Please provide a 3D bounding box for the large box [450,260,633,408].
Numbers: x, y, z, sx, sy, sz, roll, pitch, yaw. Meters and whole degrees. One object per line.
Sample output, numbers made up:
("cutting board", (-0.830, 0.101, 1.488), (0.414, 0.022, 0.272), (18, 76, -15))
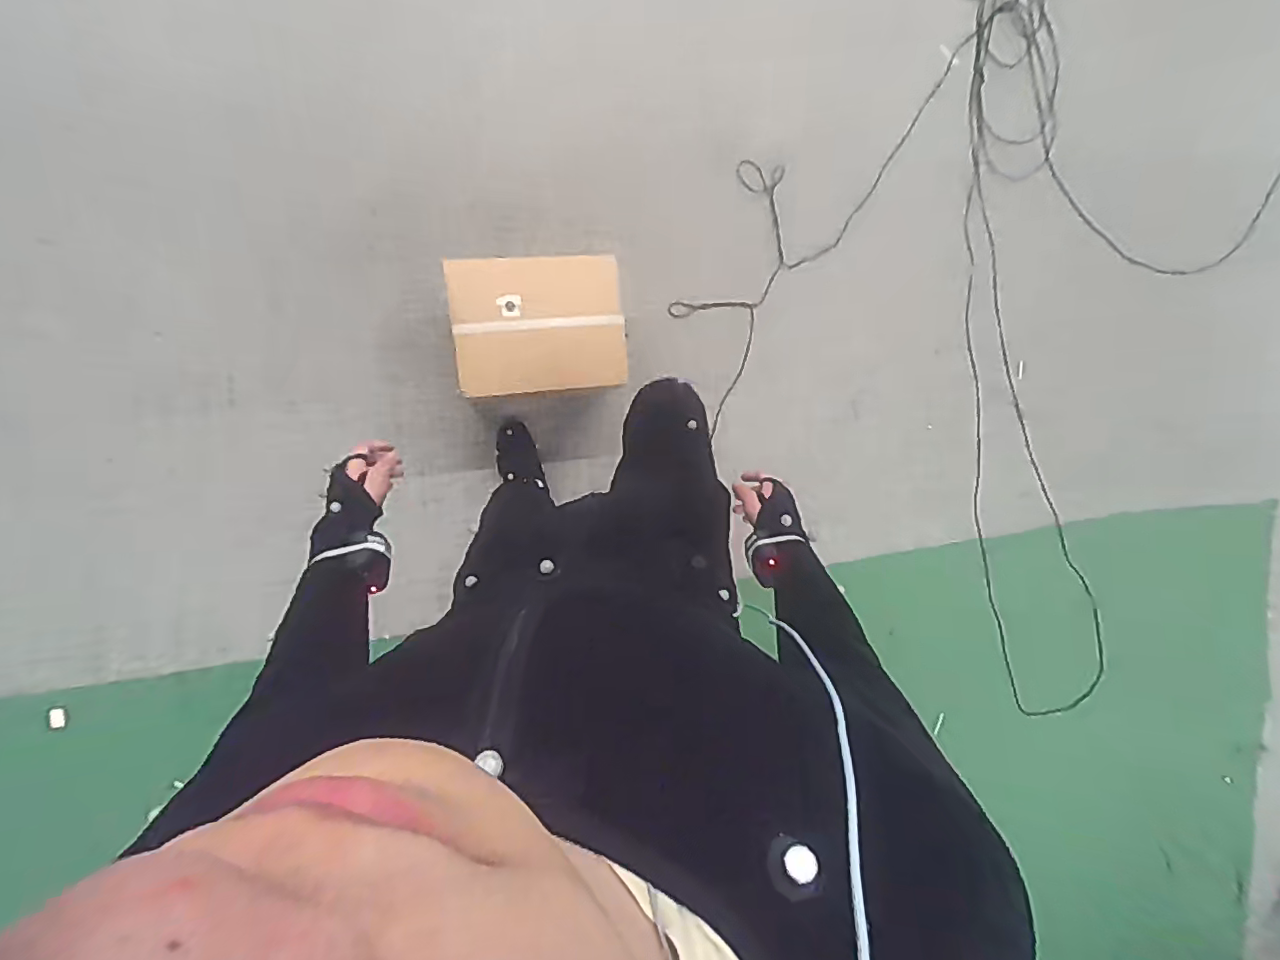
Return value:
("large box", (-0.258, -0.371, 1.434), (0.408, 0.320, 0.320), (-8, 95, -12))
